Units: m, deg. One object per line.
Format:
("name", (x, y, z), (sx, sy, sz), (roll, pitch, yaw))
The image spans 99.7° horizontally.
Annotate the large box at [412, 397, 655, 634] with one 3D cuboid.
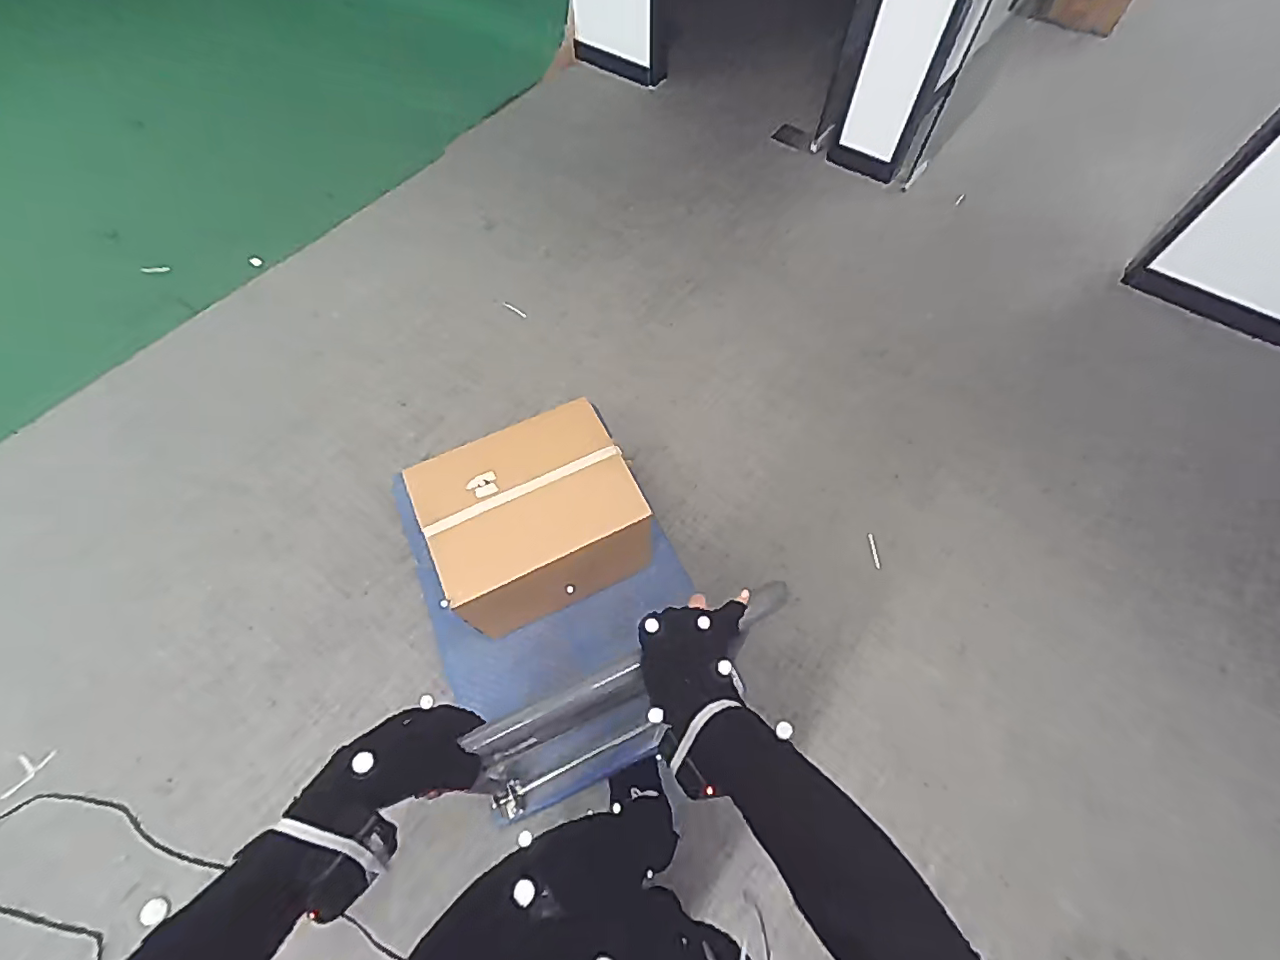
("large box", (-0.212, 0.089, 1.194), (0.408, 0.320, 0.320), (-25, 65, -11))
